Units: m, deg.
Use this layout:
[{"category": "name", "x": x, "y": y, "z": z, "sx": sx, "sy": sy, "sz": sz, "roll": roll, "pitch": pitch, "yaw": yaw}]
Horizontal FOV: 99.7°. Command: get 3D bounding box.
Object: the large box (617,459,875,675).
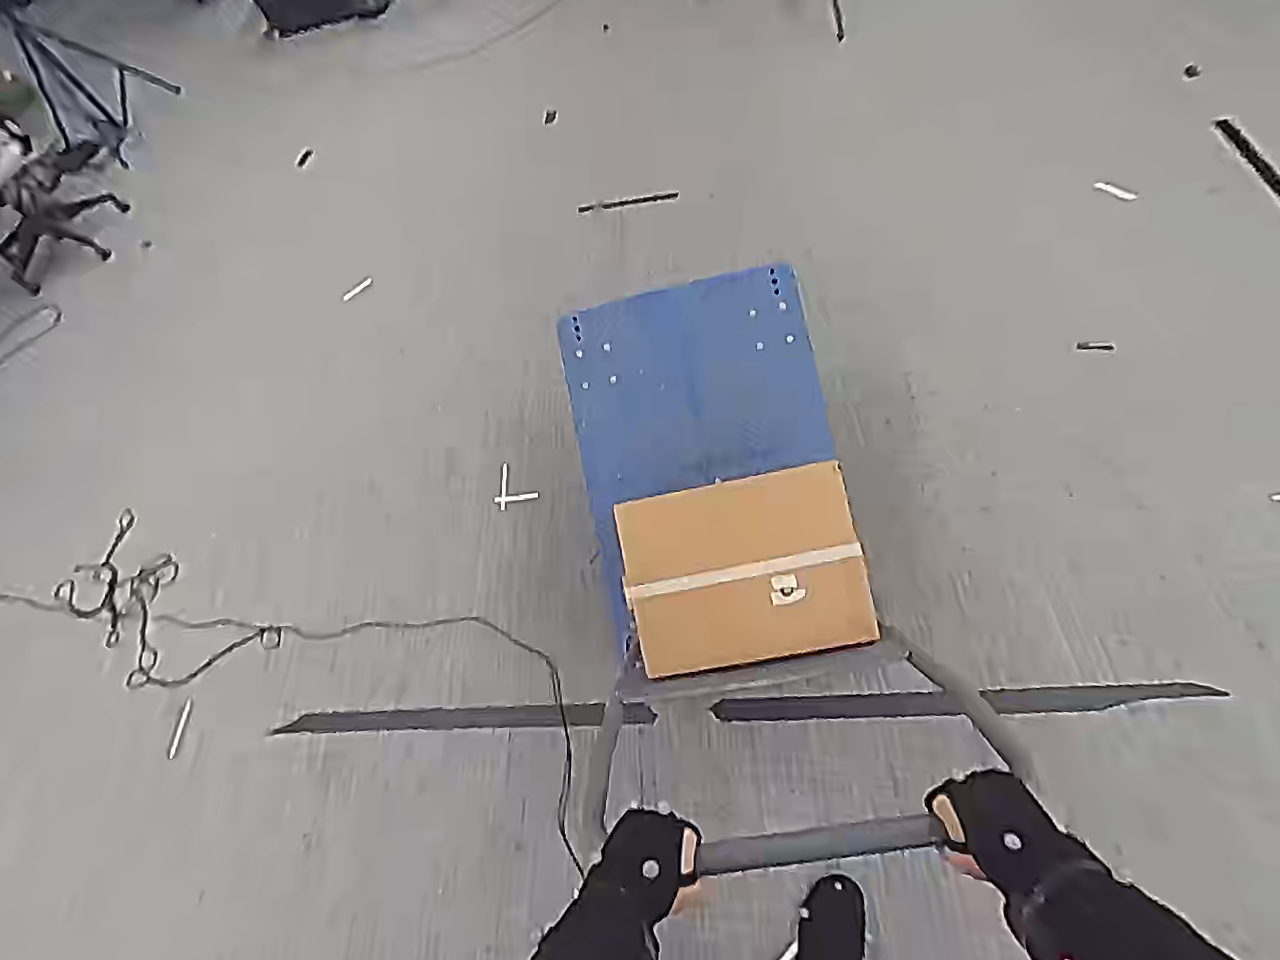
[{"category": "large box", "x": 0.195, "y": 0.166, "z": 1.107, "sx": 0.408, "sy": 0.320, "sz": 0.320, "roll": -13, "pitch": 86, "yaw": 4}]
